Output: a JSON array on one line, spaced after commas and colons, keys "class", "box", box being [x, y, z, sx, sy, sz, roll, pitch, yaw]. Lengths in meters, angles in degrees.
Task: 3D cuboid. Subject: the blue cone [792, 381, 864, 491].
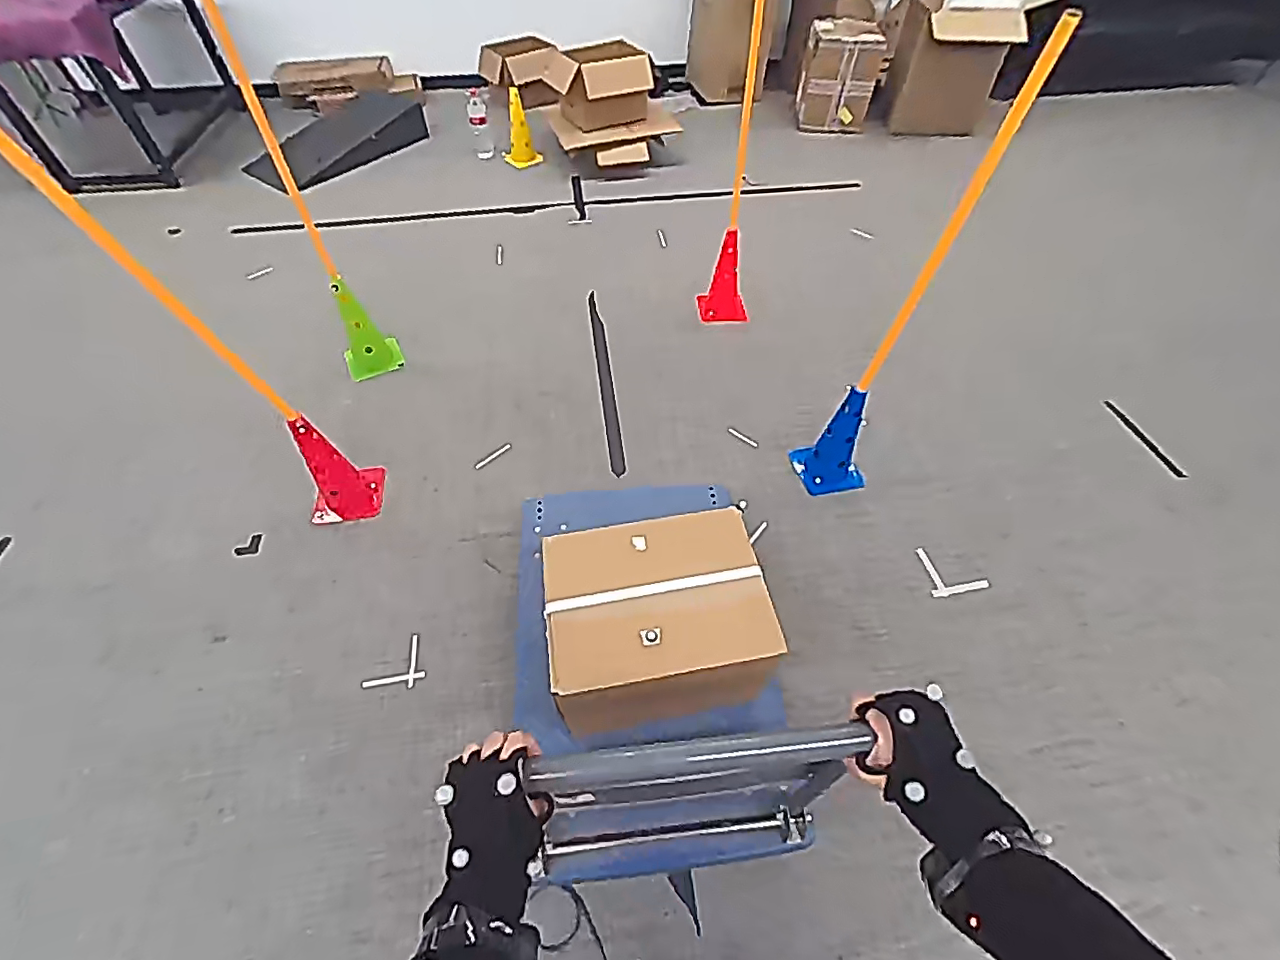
[{"class": "blue cone", "box": [0.623, -0.146, 1.679, 0.193, 0.380, 0.192, -10, 52, -8]}]

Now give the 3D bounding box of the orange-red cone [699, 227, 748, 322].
[{"class": "orange-red cone", "box": [0.362, -0.847, 2.199, 0.199, 0.360, 0.198, -1, 53, -2]}]
